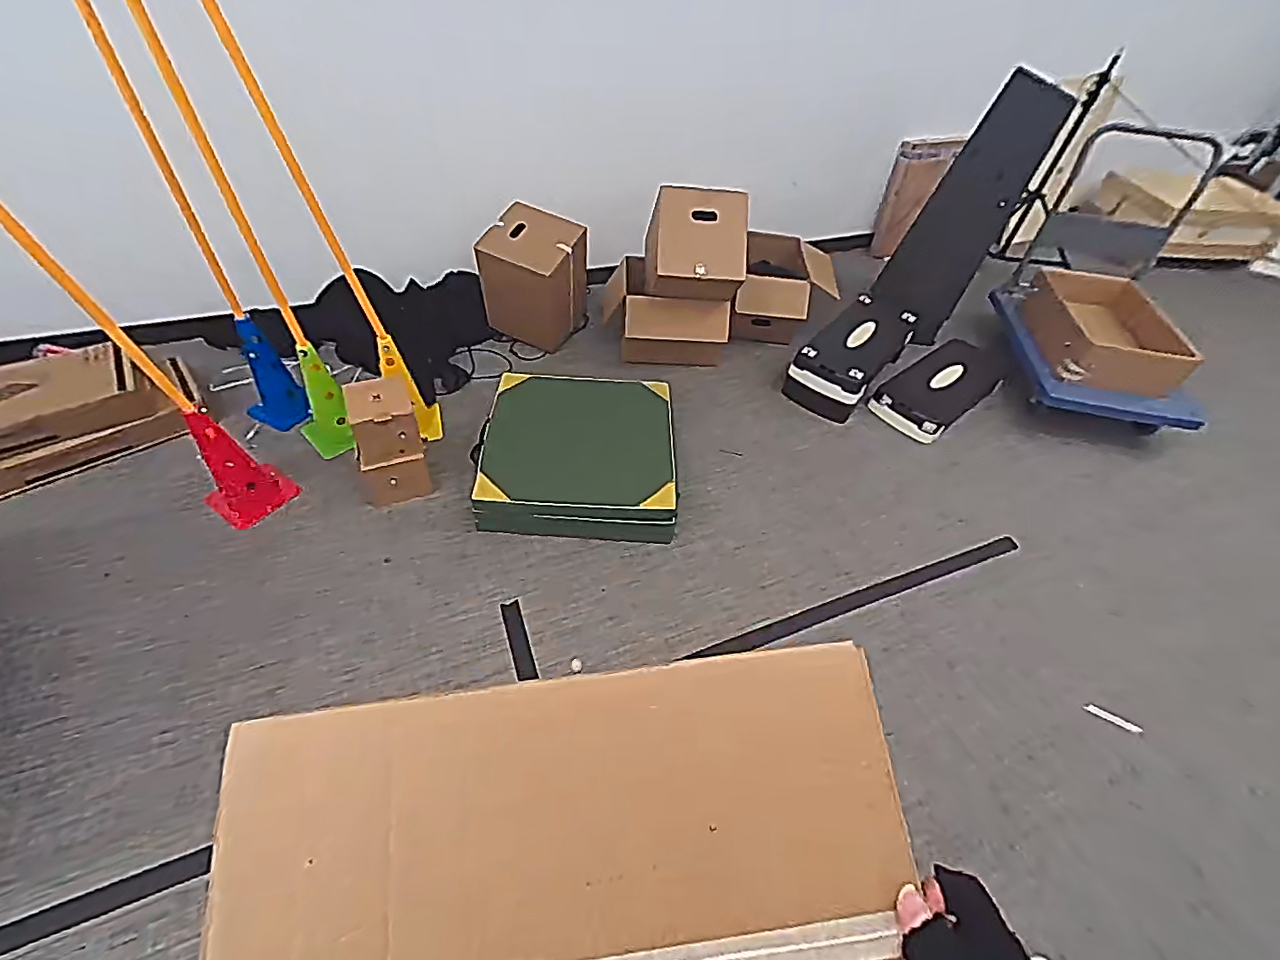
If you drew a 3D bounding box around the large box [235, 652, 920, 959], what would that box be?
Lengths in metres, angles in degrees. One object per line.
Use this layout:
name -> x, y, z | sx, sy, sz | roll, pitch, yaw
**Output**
large box -> -0.033, 0.335, 0.453 | 0.408, 0.320, 0.320 | -7, 70, -2
